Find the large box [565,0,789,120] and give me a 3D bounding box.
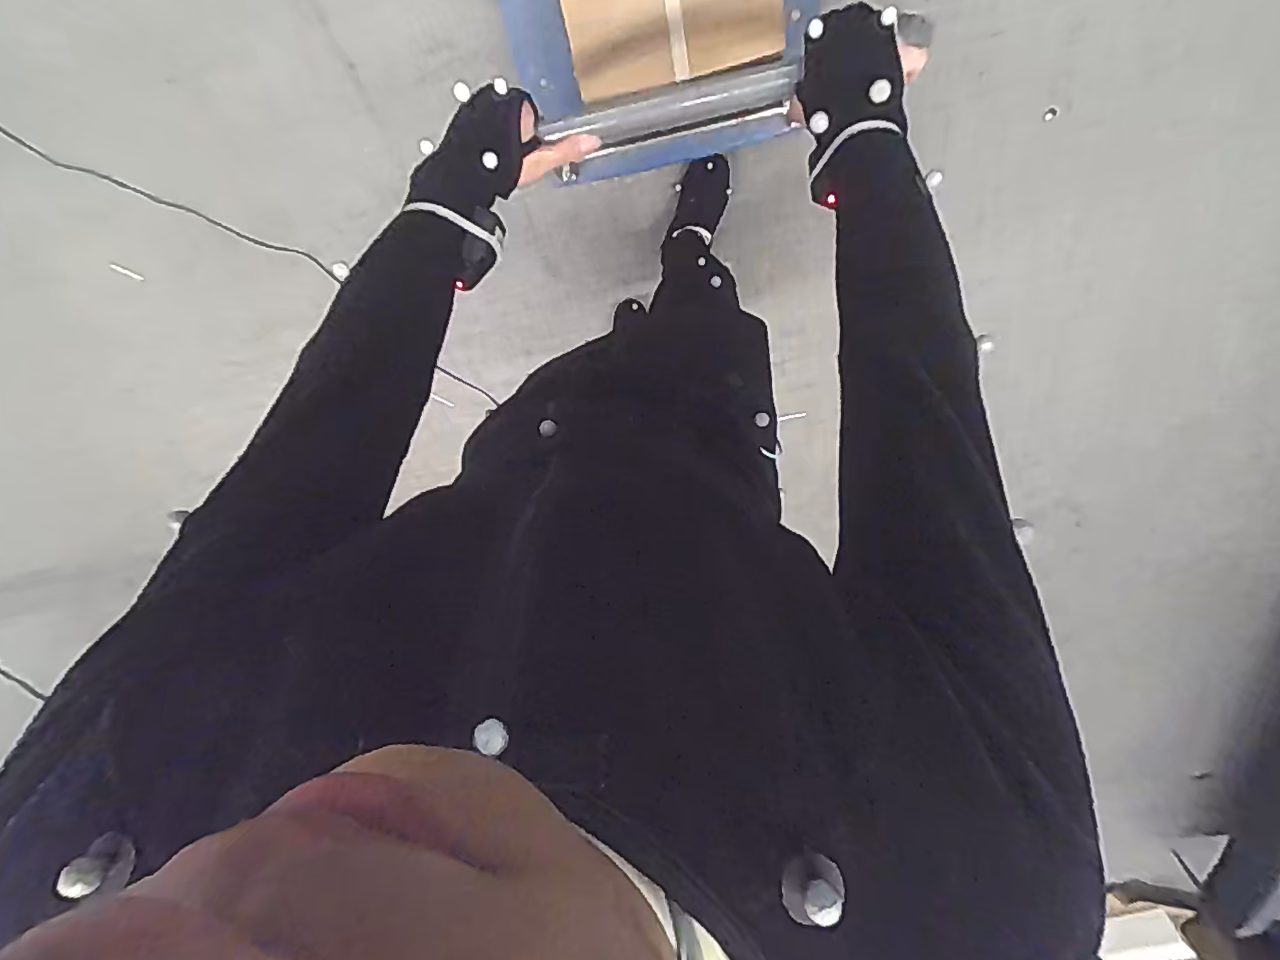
[{"bbox_3d":[0.040,-0.847,0.854,0.320,0.320,0.408,-9,120,9],"label":"large box"}]
